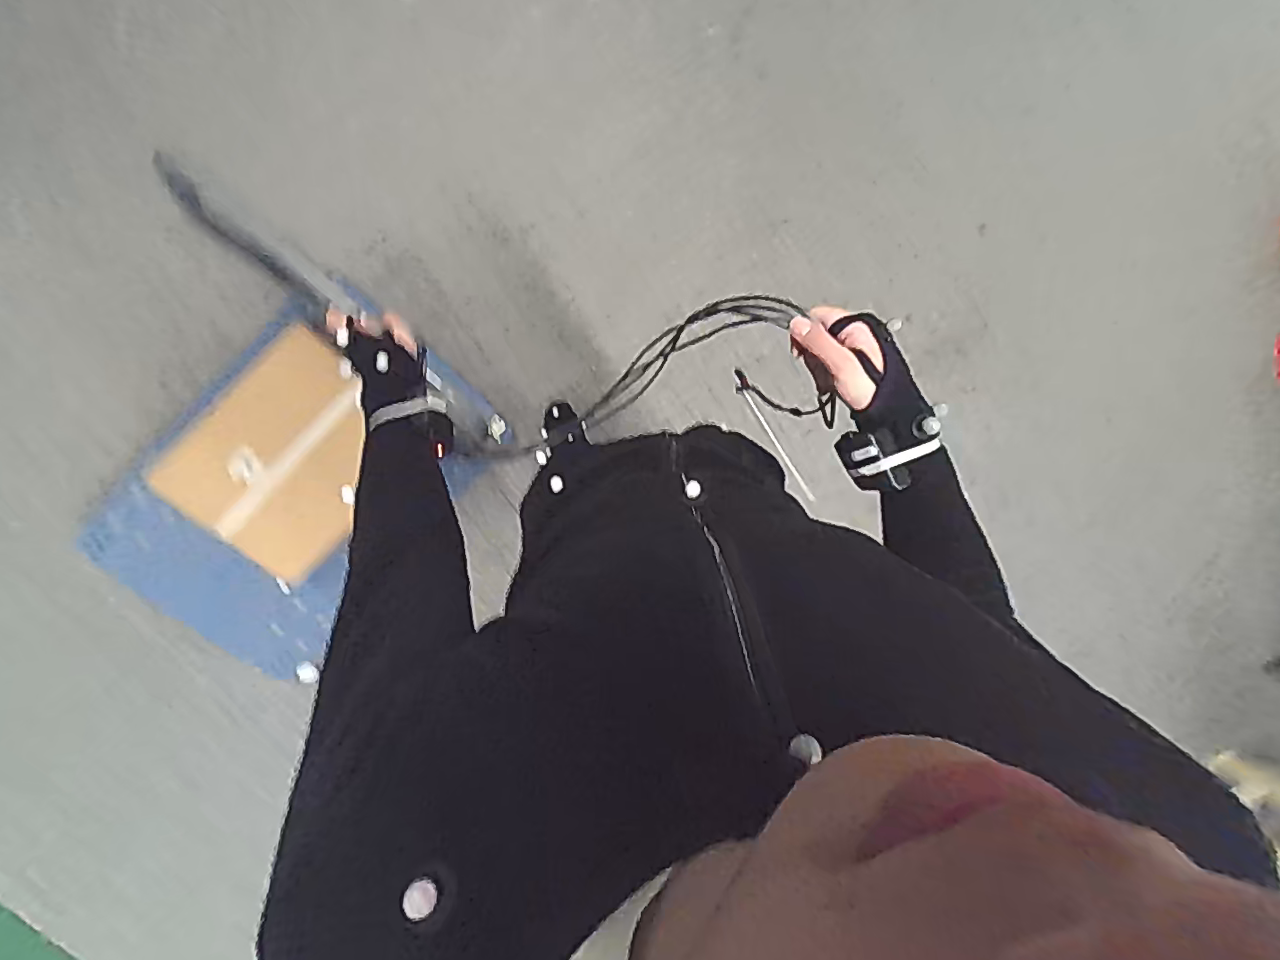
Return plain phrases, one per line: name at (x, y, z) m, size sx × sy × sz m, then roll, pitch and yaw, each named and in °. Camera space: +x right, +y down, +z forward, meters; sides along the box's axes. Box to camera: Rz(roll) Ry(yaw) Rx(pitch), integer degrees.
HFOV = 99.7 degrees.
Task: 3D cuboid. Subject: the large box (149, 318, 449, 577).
large box at (-0.678, -0.078, 1.160) m, size 0.408 × 0.320 × 0.320 m, roll -46°, pitch 104°, yaw -2°
